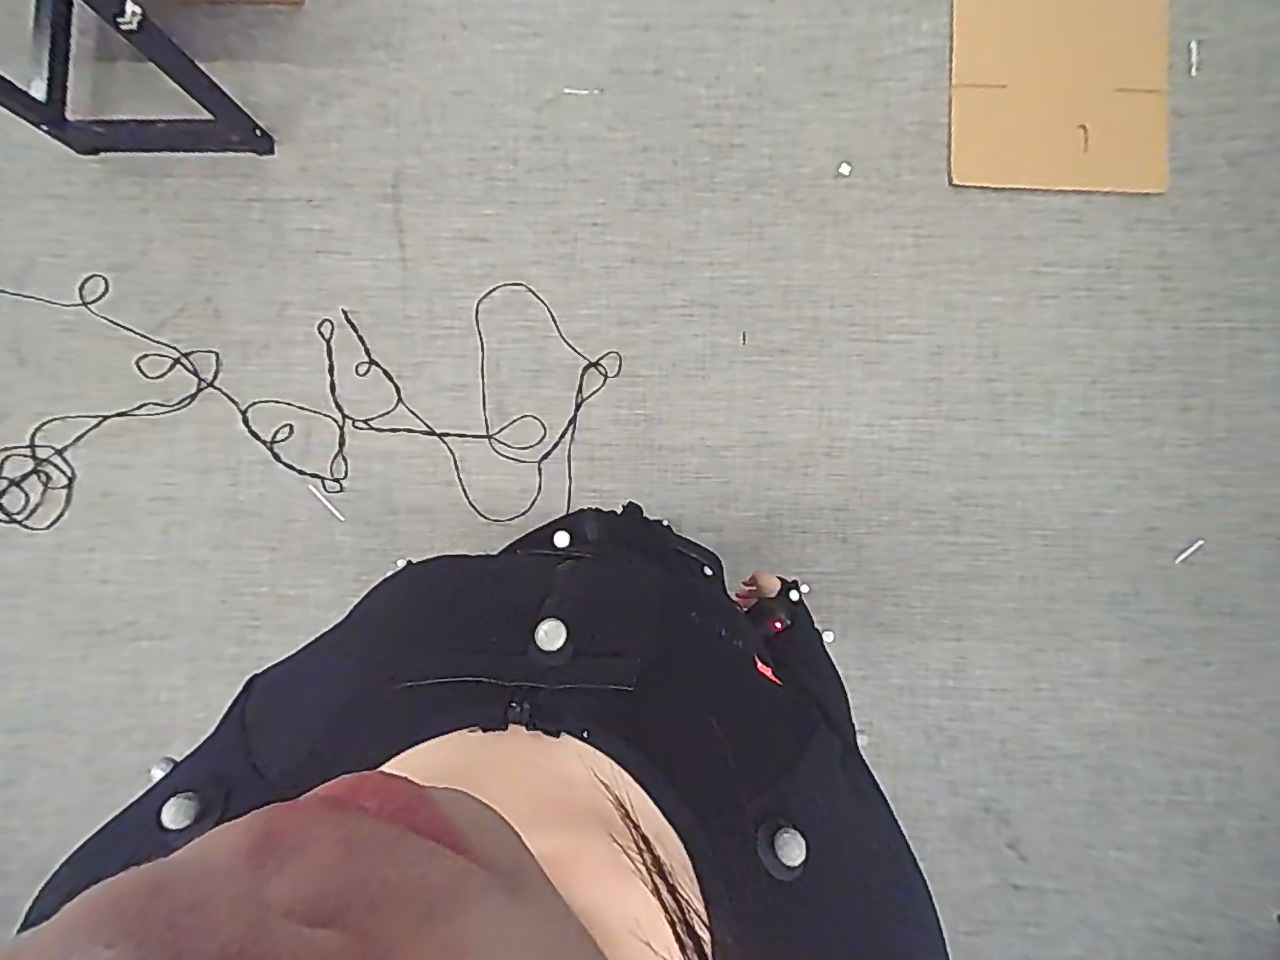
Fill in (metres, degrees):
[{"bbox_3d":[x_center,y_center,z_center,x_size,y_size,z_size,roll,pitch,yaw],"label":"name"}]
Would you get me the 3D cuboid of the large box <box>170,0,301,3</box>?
[{"bbox_3d":[-1.190,-1.564,1.452,0.408,0.320,0.320,1,88,0],"label":"large box"}]
